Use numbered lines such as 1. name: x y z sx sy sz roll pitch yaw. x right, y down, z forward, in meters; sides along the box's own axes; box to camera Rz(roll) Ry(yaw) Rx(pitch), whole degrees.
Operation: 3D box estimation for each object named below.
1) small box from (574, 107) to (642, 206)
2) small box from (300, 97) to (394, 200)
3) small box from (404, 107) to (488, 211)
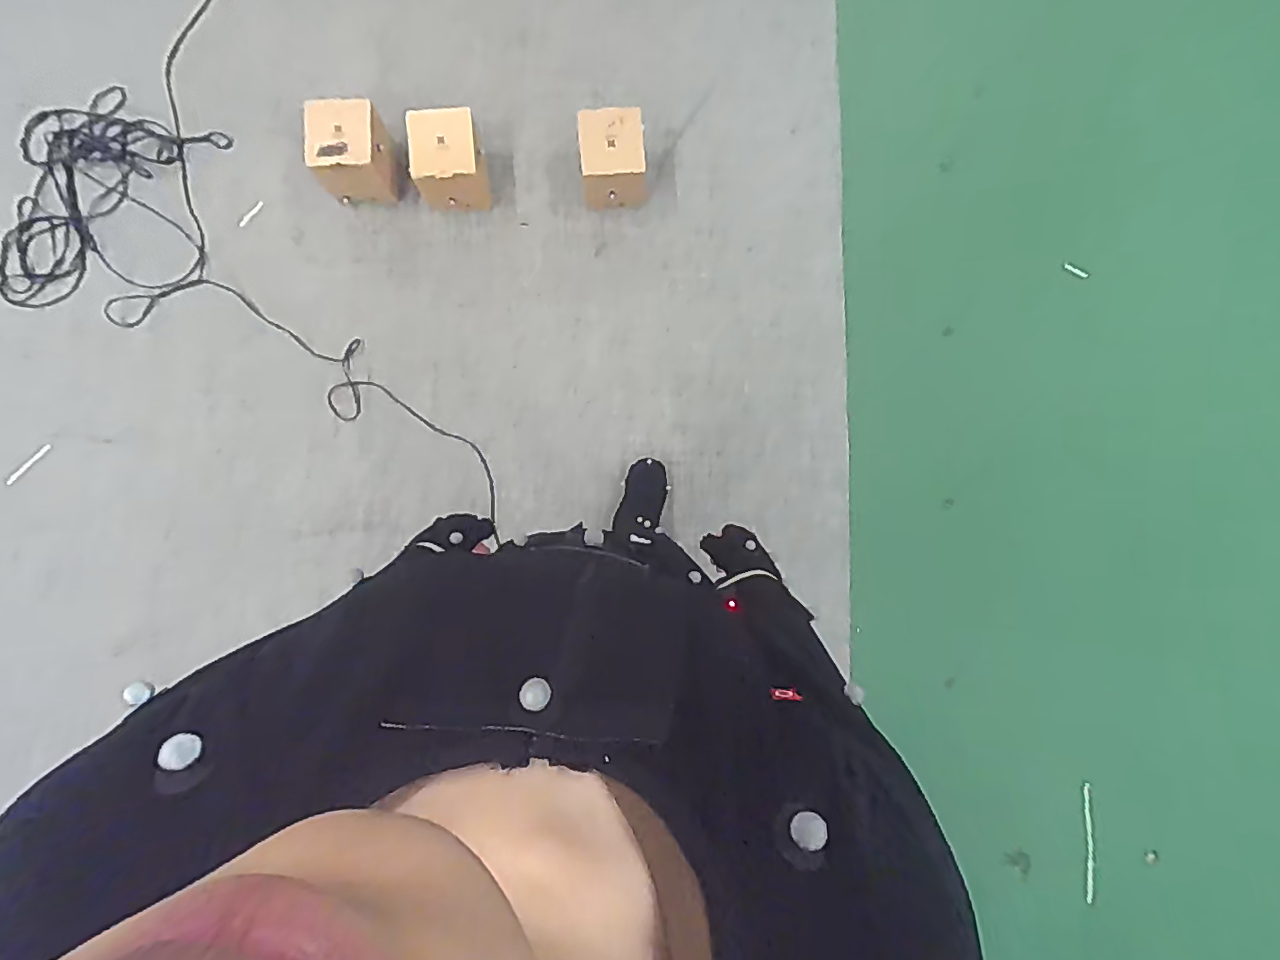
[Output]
1. small box: -0.084 -0.859 1.455 0.168 0.176 0.179 -5 88 -4
2. small box: -0.764 -0.863 1.423 0.168 0.176 0.179 -3 86 -3
3. small box: -0.510 -0.846 1.435 0.168 0.176 0.179 -6 88 -3
